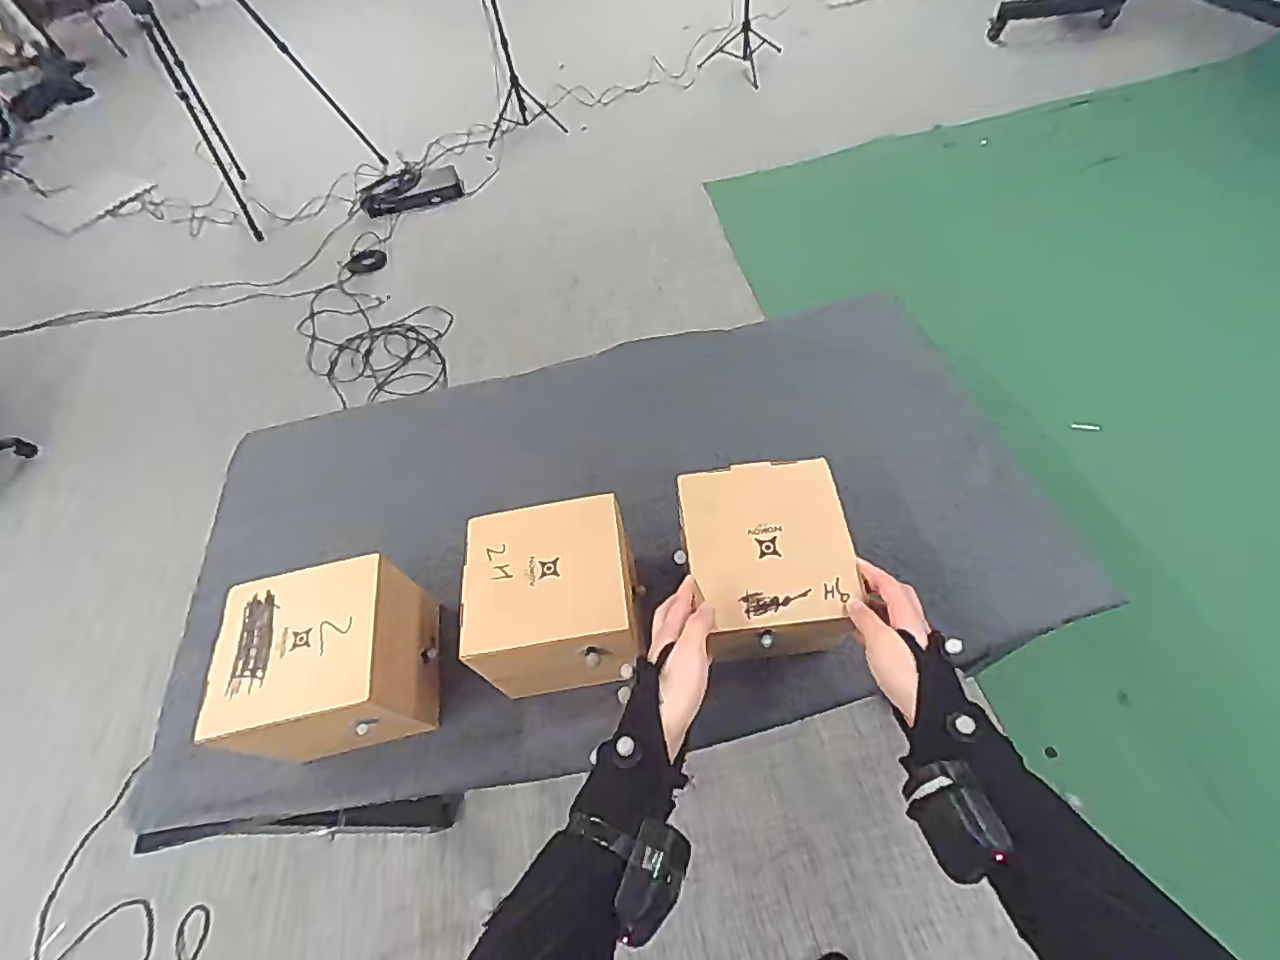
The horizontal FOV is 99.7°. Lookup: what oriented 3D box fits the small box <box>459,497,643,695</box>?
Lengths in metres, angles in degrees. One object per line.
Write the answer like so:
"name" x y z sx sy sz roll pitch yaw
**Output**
"small box" -0.093 0.144 0.643 0.179 0.176 0.168 -10 54 3
